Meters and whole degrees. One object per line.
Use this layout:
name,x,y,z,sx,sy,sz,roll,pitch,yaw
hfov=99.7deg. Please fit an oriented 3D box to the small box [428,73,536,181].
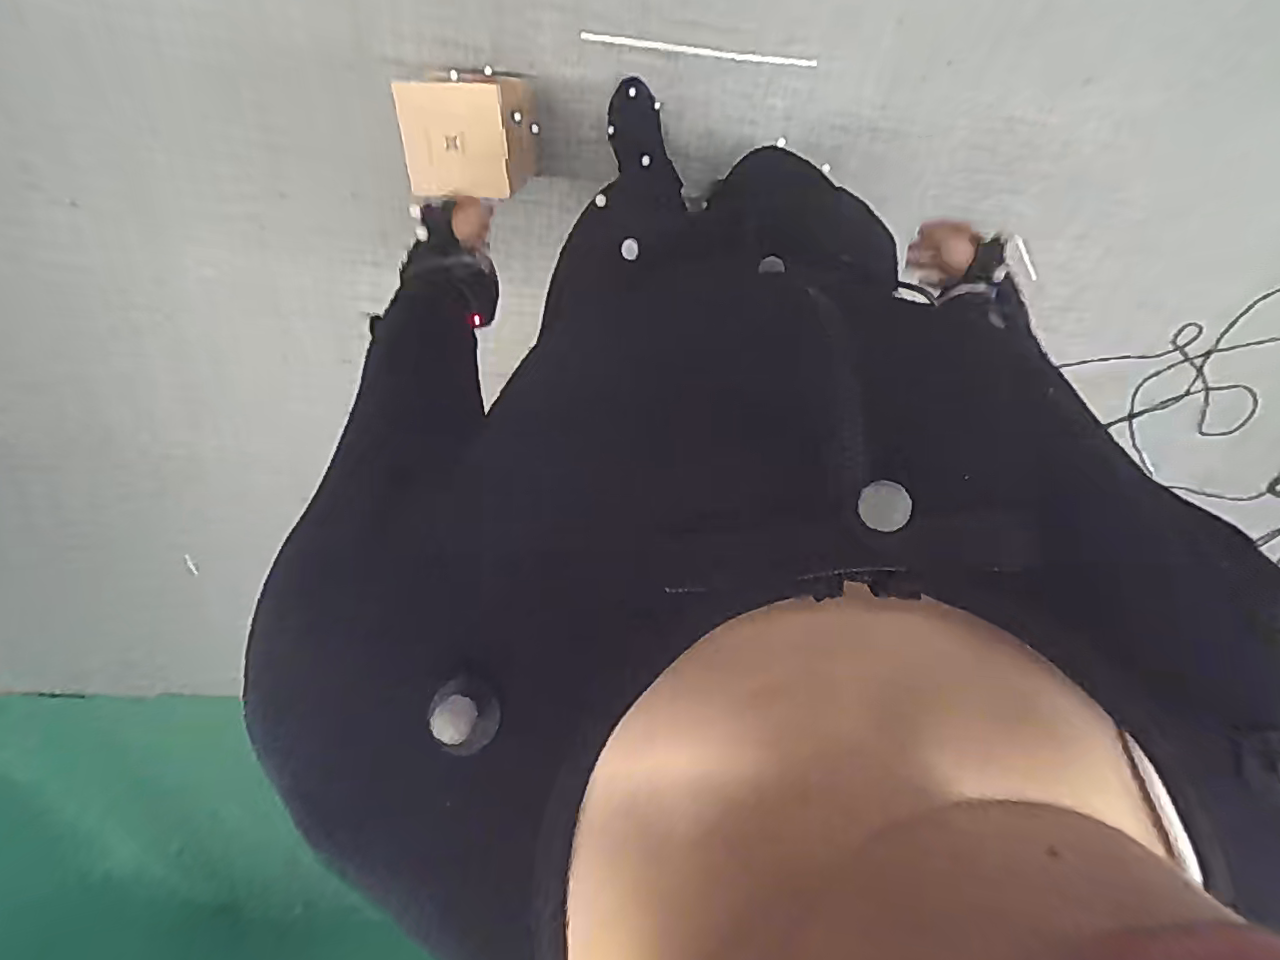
small box,-0.310,-0.723,1.105,0.179,0.176,0.168,3,126,-2

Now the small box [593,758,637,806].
small box,-0.109,1.335,2.355,0.179,0.176,0.168,7,125,-3

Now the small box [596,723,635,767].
small box,-0.113,1.246,2.493,0.168,0.176,0.179,6,125,-3

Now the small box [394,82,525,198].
small box,-0.311,-0.618,0.981,0.179,0.176,0.168,2,125,1
